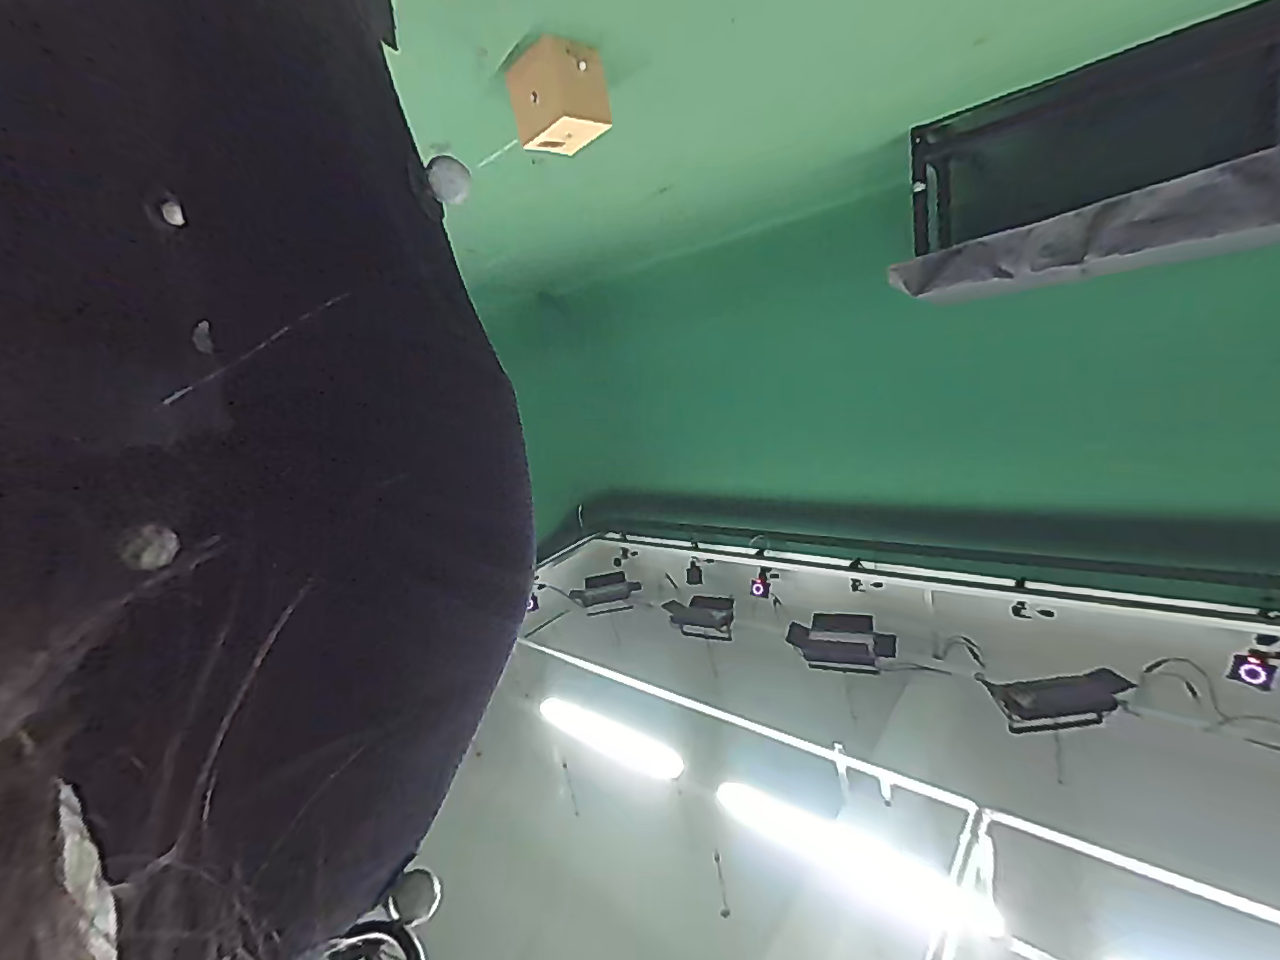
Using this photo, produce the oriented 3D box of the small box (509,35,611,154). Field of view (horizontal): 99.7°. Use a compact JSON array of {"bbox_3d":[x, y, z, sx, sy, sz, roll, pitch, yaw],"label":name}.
[{"bbox_3d":[-0.199,-0.924,1.312,0.179,0.176,0.168,1,-161,45],"label":"small box"}]
